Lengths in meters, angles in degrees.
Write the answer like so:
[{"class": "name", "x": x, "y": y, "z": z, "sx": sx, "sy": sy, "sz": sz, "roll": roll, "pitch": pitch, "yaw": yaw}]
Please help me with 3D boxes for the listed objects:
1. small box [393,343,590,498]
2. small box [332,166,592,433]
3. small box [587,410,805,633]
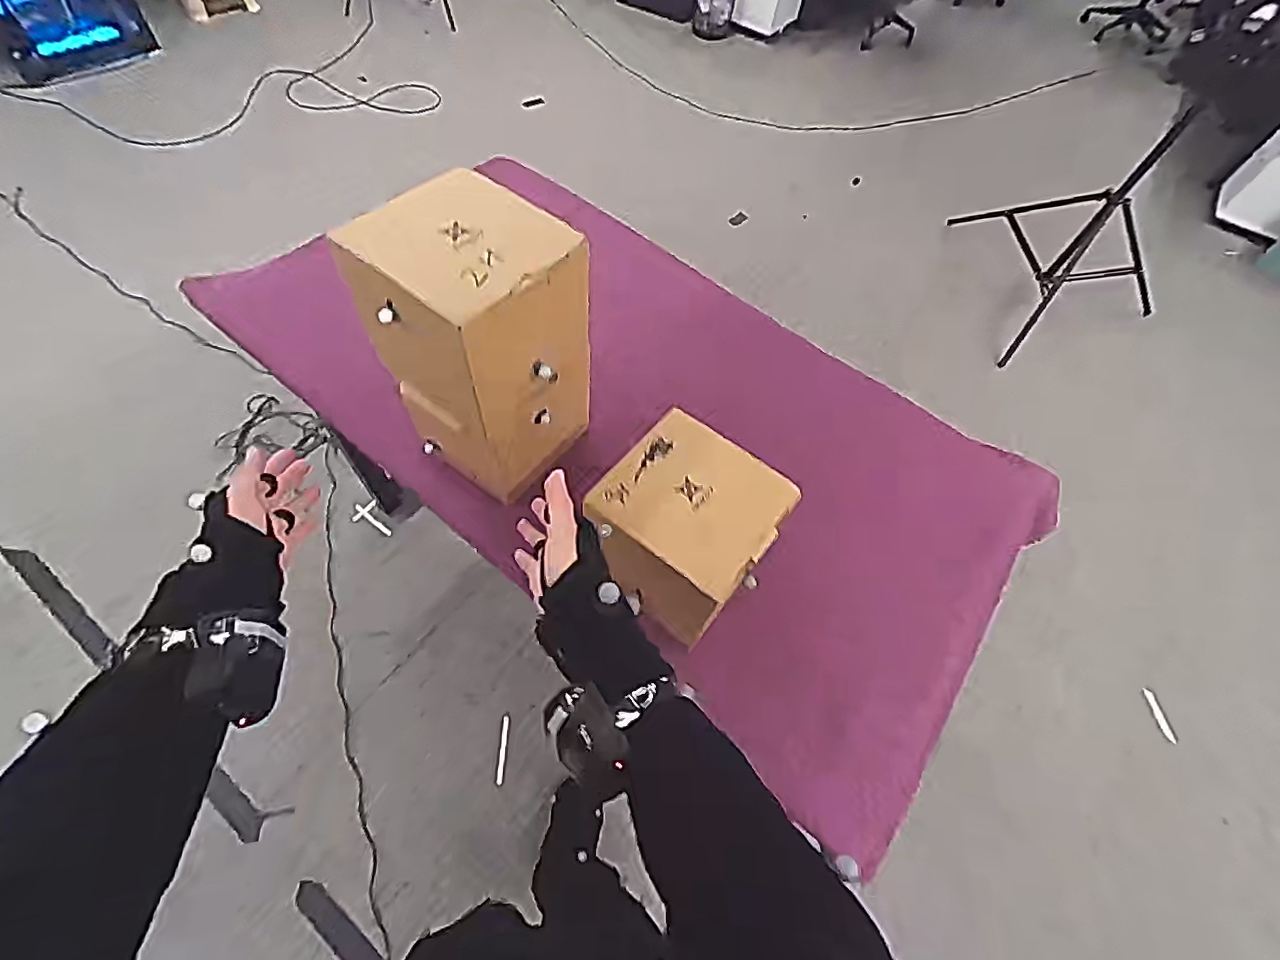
[{"class": "small box", "x": -0.180, "y": -0.108, "z": 0.711, "sx": 0.168, "sy": 0.176, "sz": 0.179, "roll": 33, "pitch": 60, "yaw": 13}, {"class": "small box", "x": -0.169, "y": -0.181, "z": 0.563, "sx": 0.179, "sy": 0.176, "sz": 0.168, "roll": 36, "pitch": 62, "yaw": 14}, {"class": "small box", "x": 0.055, "y": 0.059, "z": 0.636, "sx": 0.179, "sy": 0.176, "sz": 0.168, "roll": 36, "pitch": 62, "yaw": 15}]
